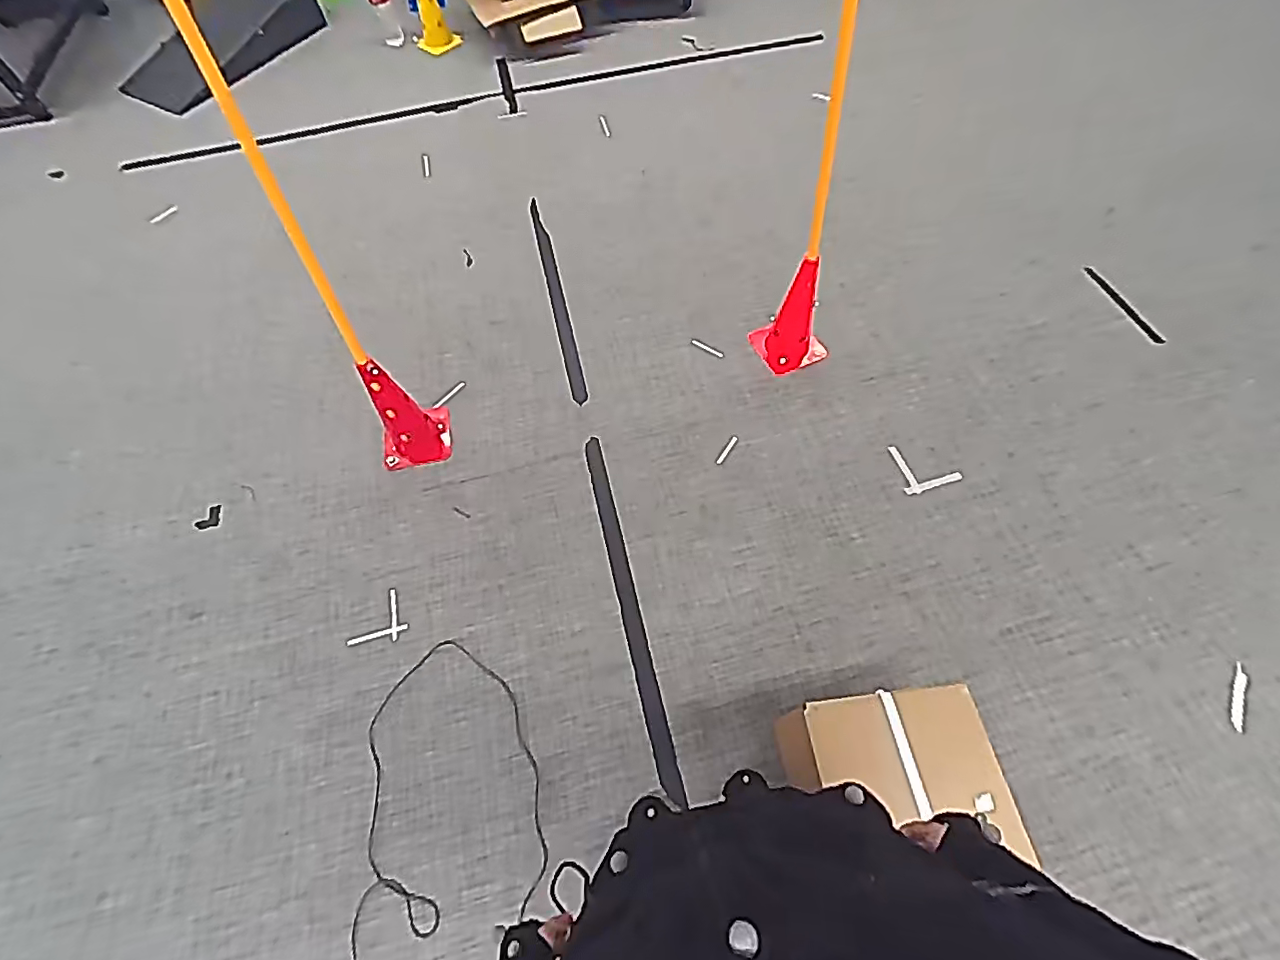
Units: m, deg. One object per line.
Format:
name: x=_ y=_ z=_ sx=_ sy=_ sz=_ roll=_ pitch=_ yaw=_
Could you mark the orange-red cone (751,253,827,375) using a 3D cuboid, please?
orange-red cone: x=0.480 y=-0.518 z=1.611 sx=0.199 sy=0.360 sz=0.198 roll=-21 pitch=64 yaw=-10
